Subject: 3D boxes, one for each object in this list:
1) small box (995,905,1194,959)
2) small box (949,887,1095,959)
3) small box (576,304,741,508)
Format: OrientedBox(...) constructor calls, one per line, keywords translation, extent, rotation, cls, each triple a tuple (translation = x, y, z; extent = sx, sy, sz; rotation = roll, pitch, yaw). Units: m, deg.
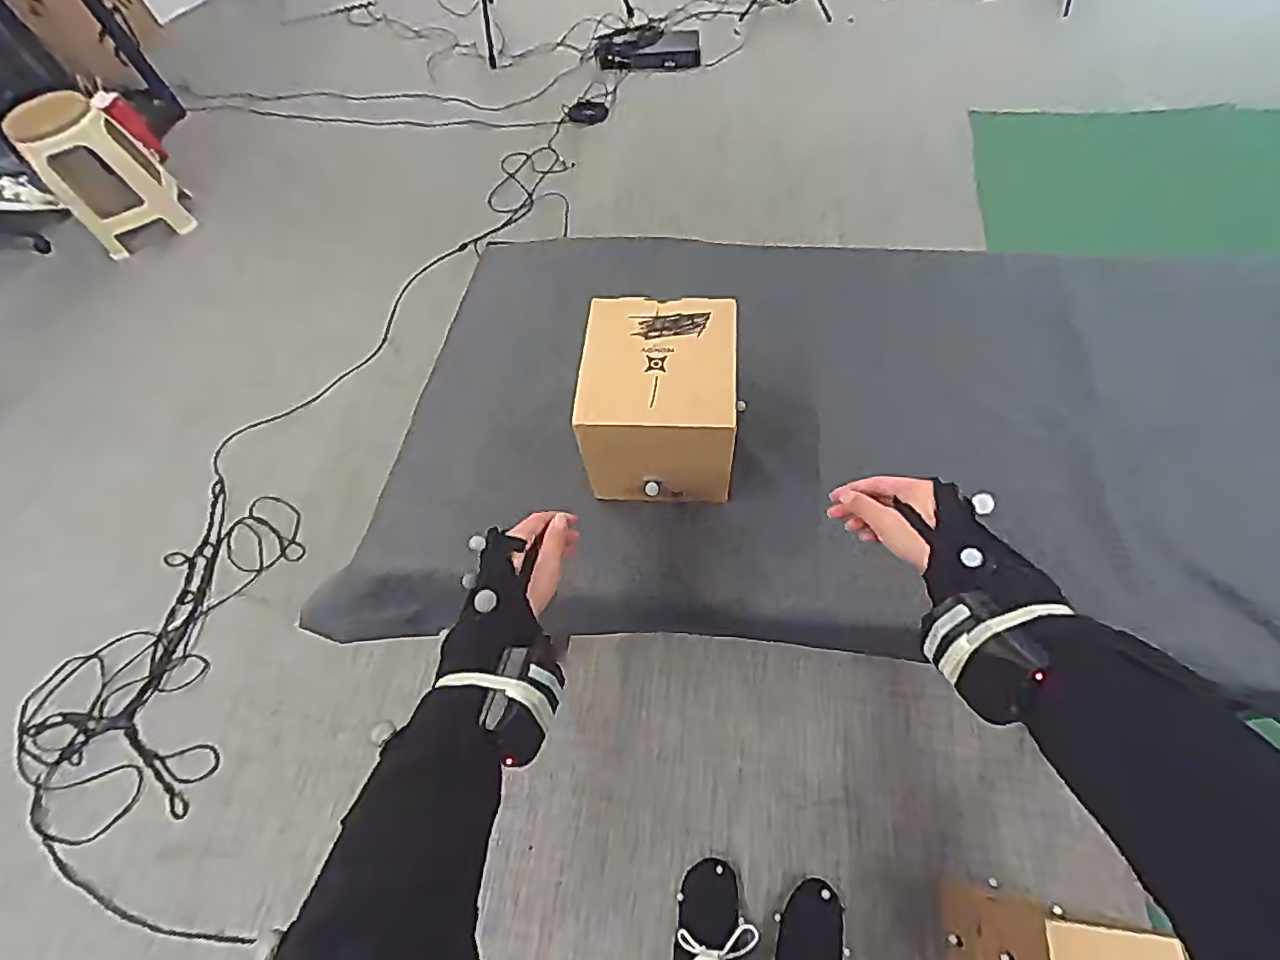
OrientedBox(translation=(0.648, 0.728, 0.765), extent=(0.179, 0.176, 0.168), rotation=(3, 61, 8), cls="small box")
OrientedBox(translation=(0.645, 0.806, 0.911), extent=(0.179, 0.176, 0.168), rotation=(4, 60, 8), cls="small box")
OrientedBox(translation=(0.030, -0.085, 0.644), extent=(0.168, 0.176, 0.179), rotation=(2, 61, 7), cls="small box")
